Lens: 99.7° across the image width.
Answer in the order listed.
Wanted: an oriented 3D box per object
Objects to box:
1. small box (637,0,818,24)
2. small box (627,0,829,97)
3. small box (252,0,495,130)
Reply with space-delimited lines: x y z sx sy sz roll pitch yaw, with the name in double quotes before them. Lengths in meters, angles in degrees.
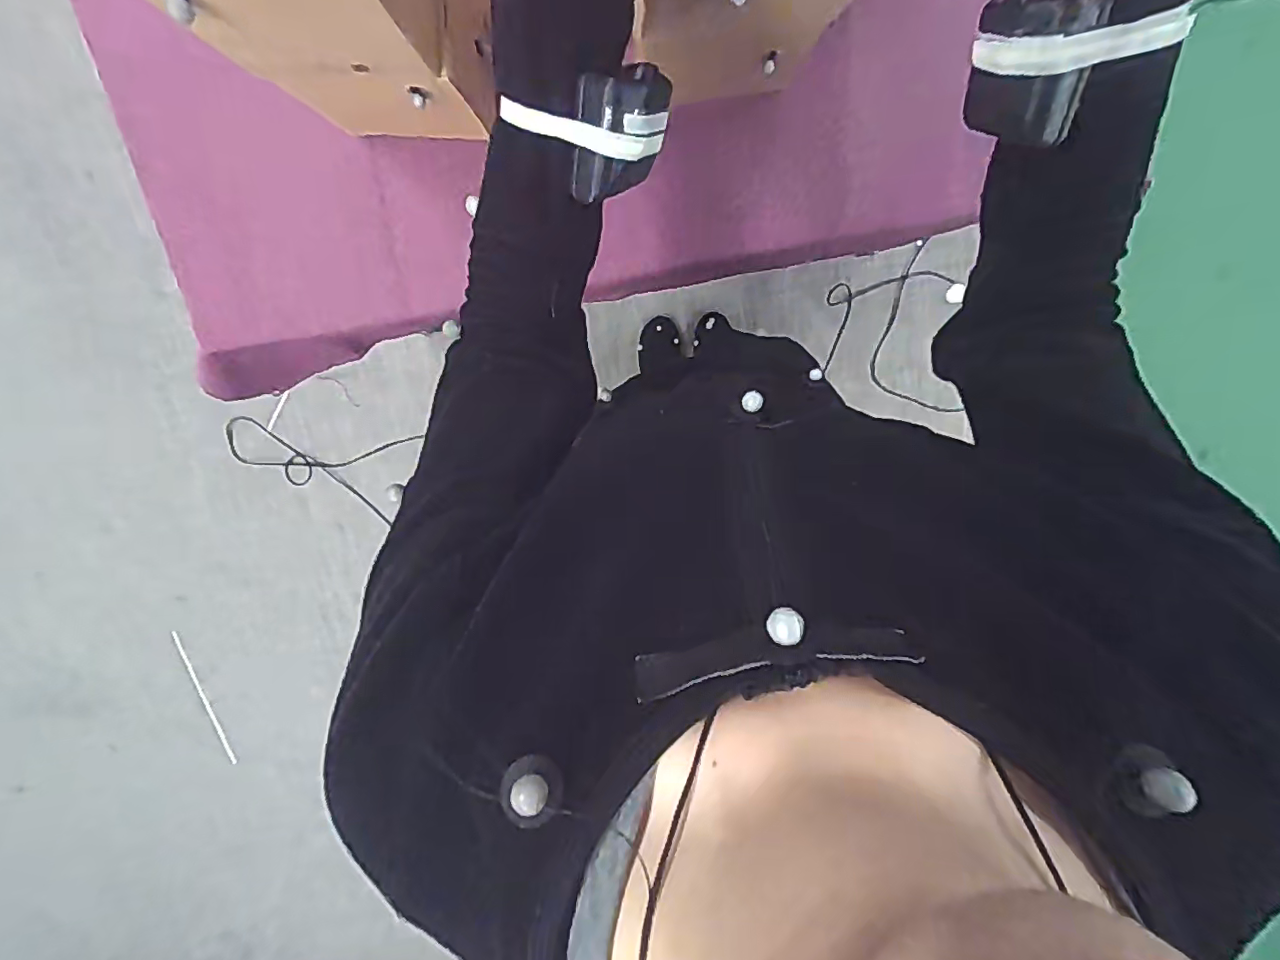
"small box" 0.076 -0.459 0.379 0.179 0.176 0.168 -6 111 1
"small box" 0.075 -0.518 0.538 0.179 0.176 0.168 -8 104 2
"small box" -0.256 -0.477 0.546 0.179 0.176 0.168 1 105 -1
